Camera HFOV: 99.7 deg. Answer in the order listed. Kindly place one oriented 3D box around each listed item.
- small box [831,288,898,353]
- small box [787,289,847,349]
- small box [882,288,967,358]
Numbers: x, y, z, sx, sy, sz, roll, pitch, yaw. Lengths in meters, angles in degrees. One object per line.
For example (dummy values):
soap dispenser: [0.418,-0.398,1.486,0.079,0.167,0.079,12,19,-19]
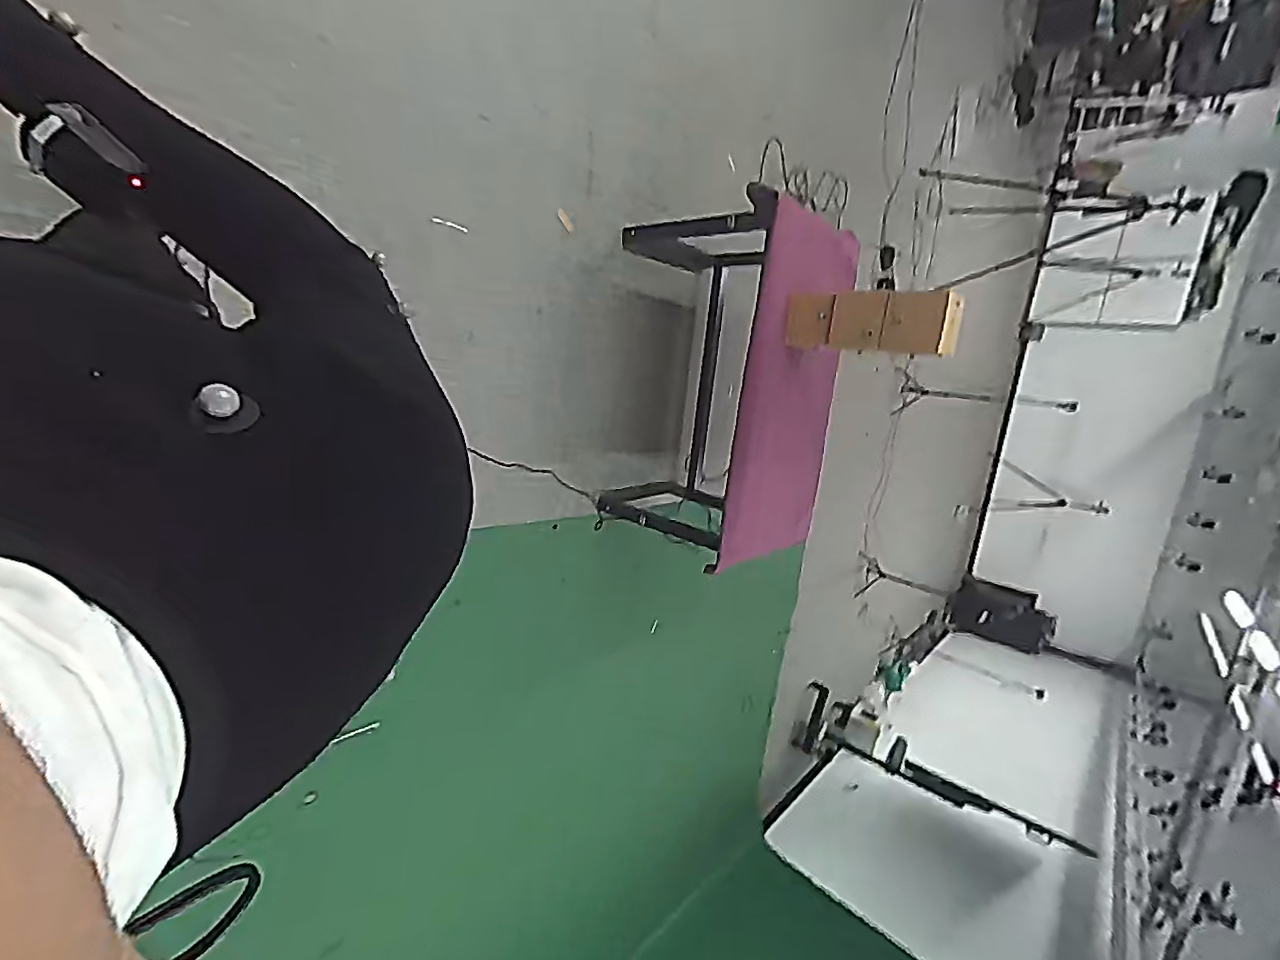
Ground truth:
small box: [0.731,-0.507,1.727,0.168,0.176,0.179,-6,107,-47]
small box: [0.622,-0.547,1.846,0.168,0.176,0.179,-8,108,-46]
small box: [0.847,-0.469,1.618,0.168,0.176,0.179,-7,108,-47]
